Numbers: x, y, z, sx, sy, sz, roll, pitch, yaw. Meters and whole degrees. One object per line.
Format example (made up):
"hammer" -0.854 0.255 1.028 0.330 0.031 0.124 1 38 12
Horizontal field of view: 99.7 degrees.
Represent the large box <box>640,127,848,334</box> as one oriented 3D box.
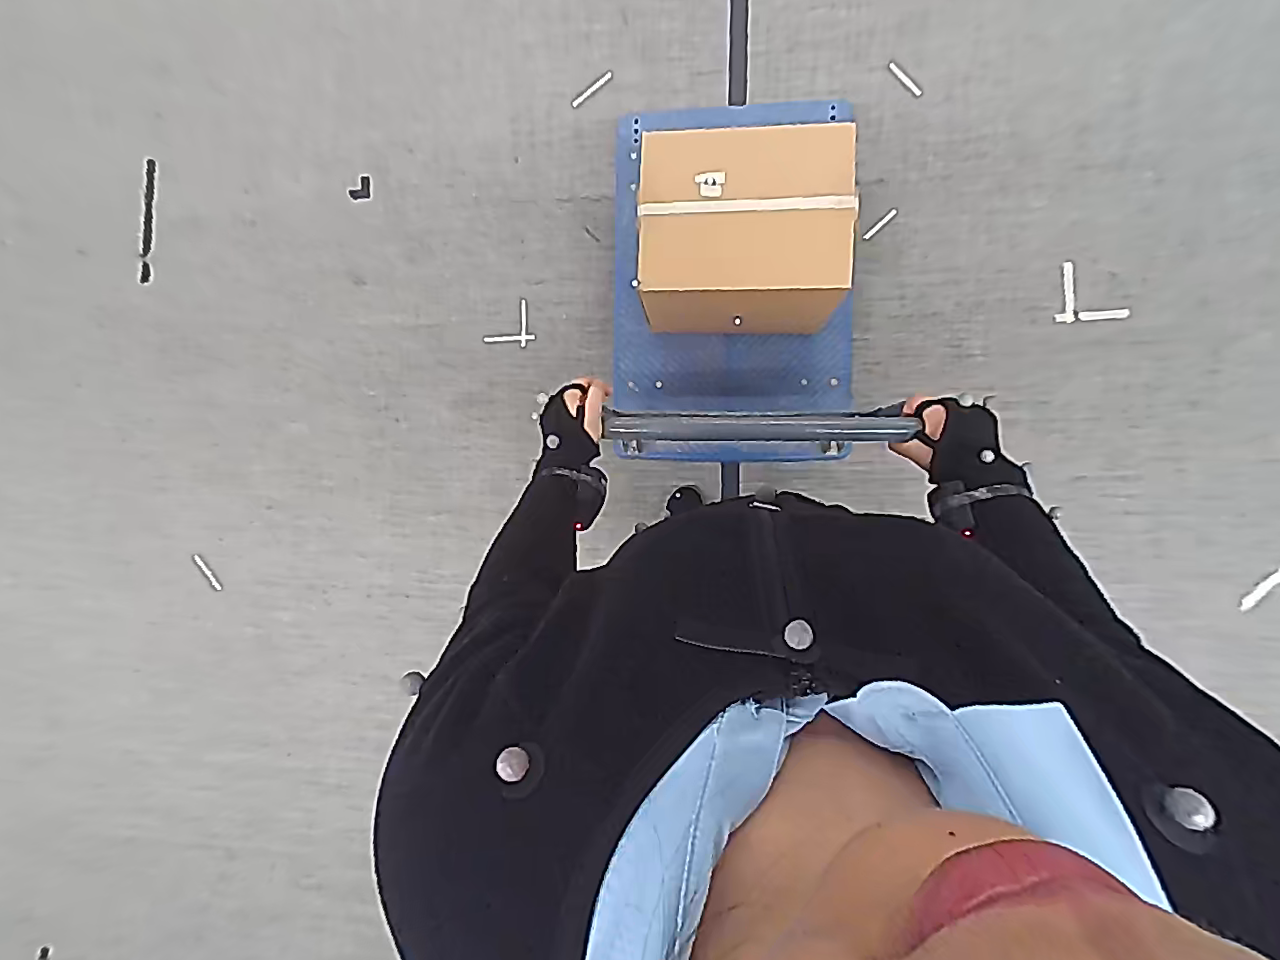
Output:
"large box" 0.221 -0.520 1.200 0.408 0.320 0.320 1 88 8
